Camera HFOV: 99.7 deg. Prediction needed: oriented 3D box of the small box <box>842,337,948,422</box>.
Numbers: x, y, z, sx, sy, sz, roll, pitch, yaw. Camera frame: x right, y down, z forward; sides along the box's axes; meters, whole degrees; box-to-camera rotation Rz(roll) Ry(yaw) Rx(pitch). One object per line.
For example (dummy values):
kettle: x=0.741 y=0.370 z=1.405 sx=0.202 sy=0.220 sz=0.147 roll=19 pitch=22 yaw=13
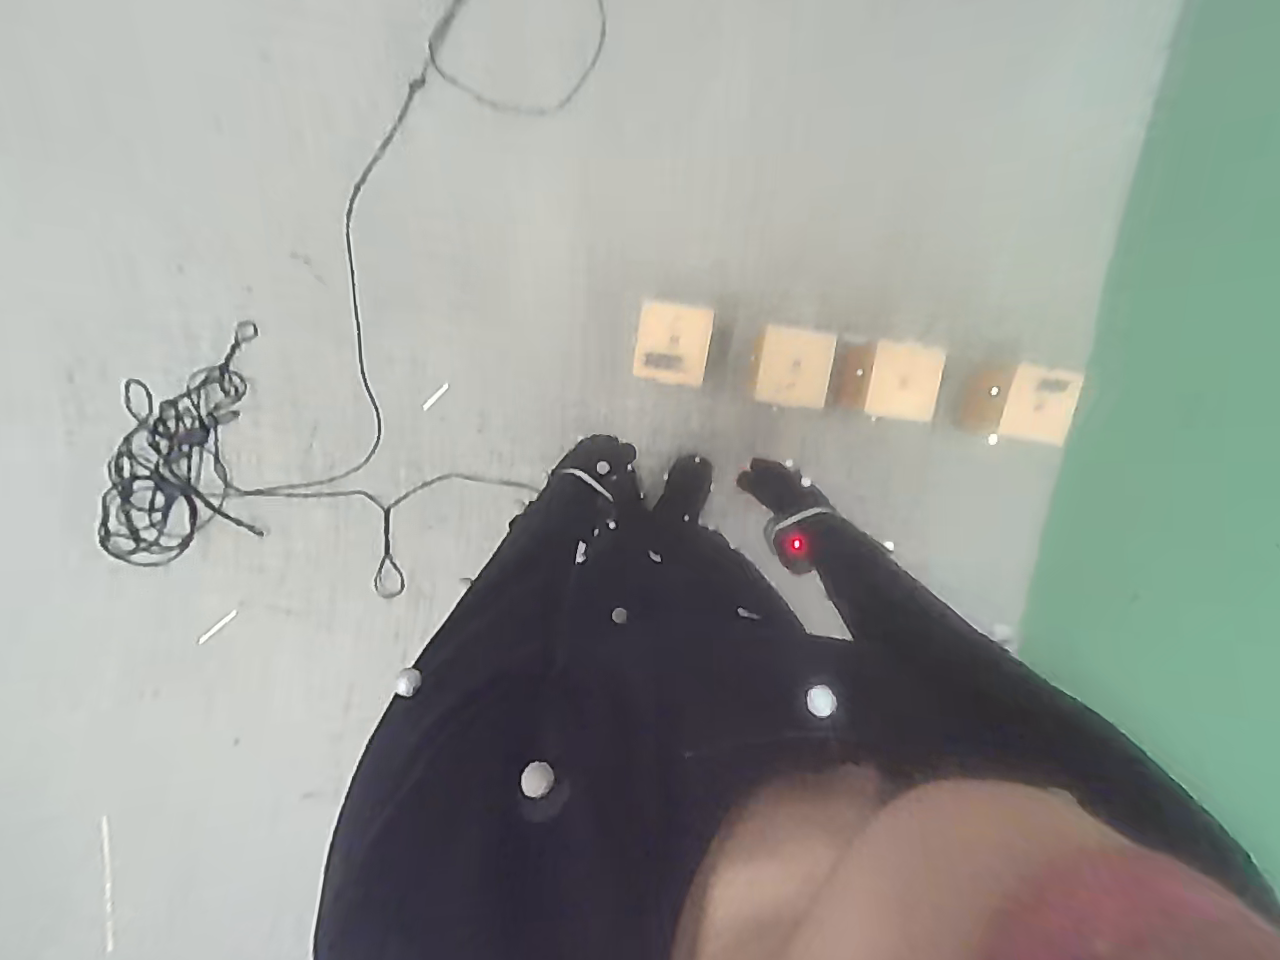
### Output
small box: x=0.610 y=-0.241 z=1.318 sx=0.168 sy=0.176 sz=0.179 roll=7 pitch=98 yaw=-2

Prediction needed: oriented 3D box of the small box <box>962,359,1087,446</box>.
small box: x=0.932 y=-0.191 z=1.329 sx=0.168 sy=0.176 sz=0.179 roll=11 pitch=99 yaw=-2

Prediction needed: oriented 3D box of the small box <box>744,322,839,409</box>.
small box: x=0.356 y=-0.270 z=1.306 sx=0.168 sy=0.176 sz=0.179 roll=8 pitch=98 yaw=-1
